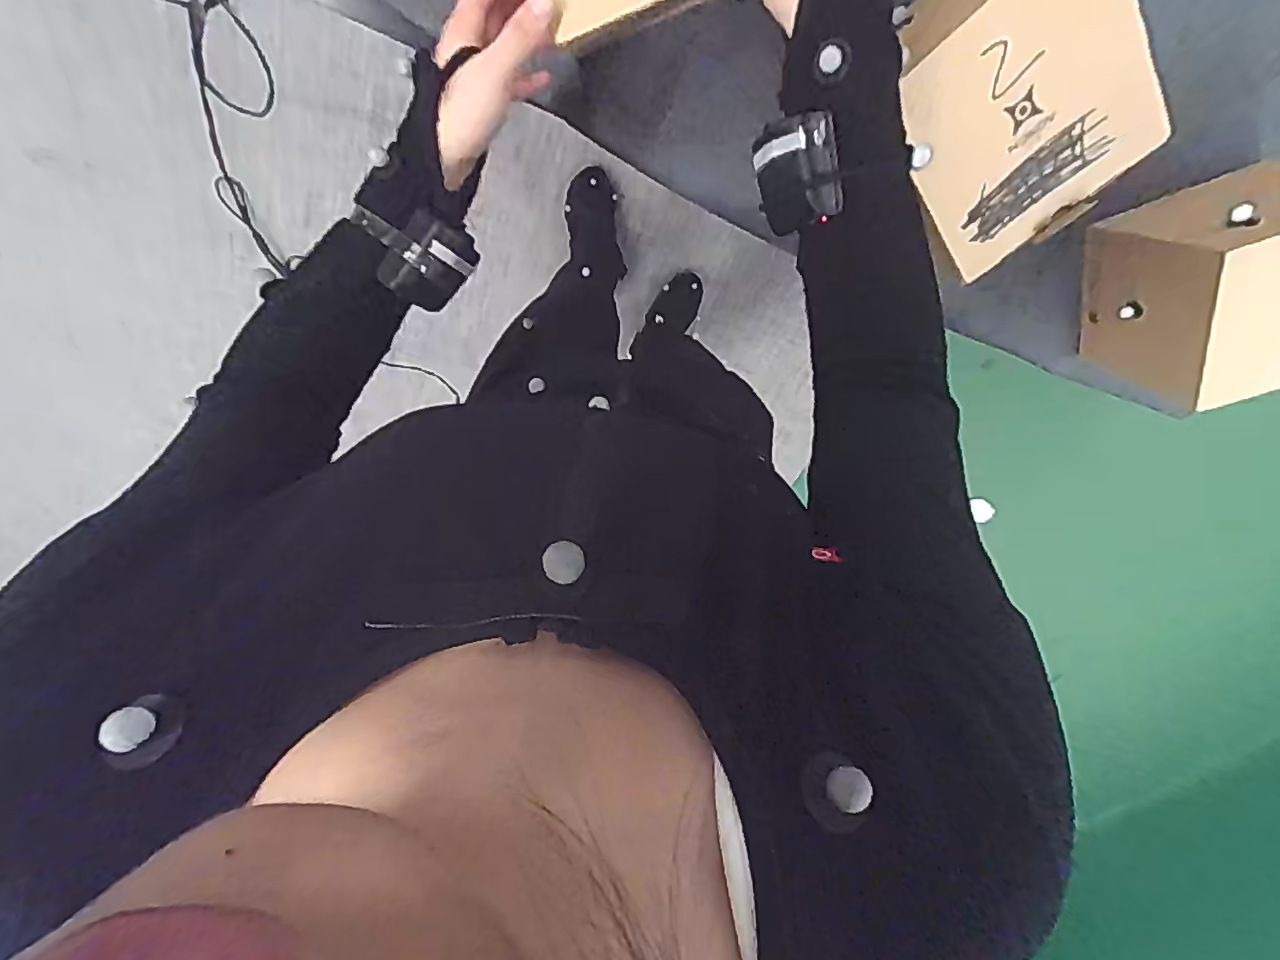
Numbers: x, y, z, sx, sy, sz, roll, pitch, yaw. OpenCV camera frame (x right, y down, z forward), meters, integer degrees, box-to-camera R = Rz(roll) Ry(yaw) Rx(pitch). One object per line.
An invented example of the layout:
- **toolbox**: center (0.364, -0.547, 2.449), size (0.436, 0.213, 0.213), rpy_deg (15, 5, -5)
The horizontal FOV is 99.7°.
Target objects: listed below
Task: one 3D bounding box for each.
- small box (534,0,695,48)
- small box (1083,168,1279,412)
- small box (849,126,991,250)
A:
- **small box**: center (-0.007, -0.424, 0.366), size (0.179, 0.176, 0.168), rpy_deg (-17, 126, 9)
- **small box**: center (0.602, -0.198, 0.552), size (0.179, 0.176, 0.168), rpy_deg (-18, 122, 10)
- **small box**: center (0.581, -0.623, 1.149), size (0.179, 0.176, 0.168), rpy_deg (22, 122, -19)
